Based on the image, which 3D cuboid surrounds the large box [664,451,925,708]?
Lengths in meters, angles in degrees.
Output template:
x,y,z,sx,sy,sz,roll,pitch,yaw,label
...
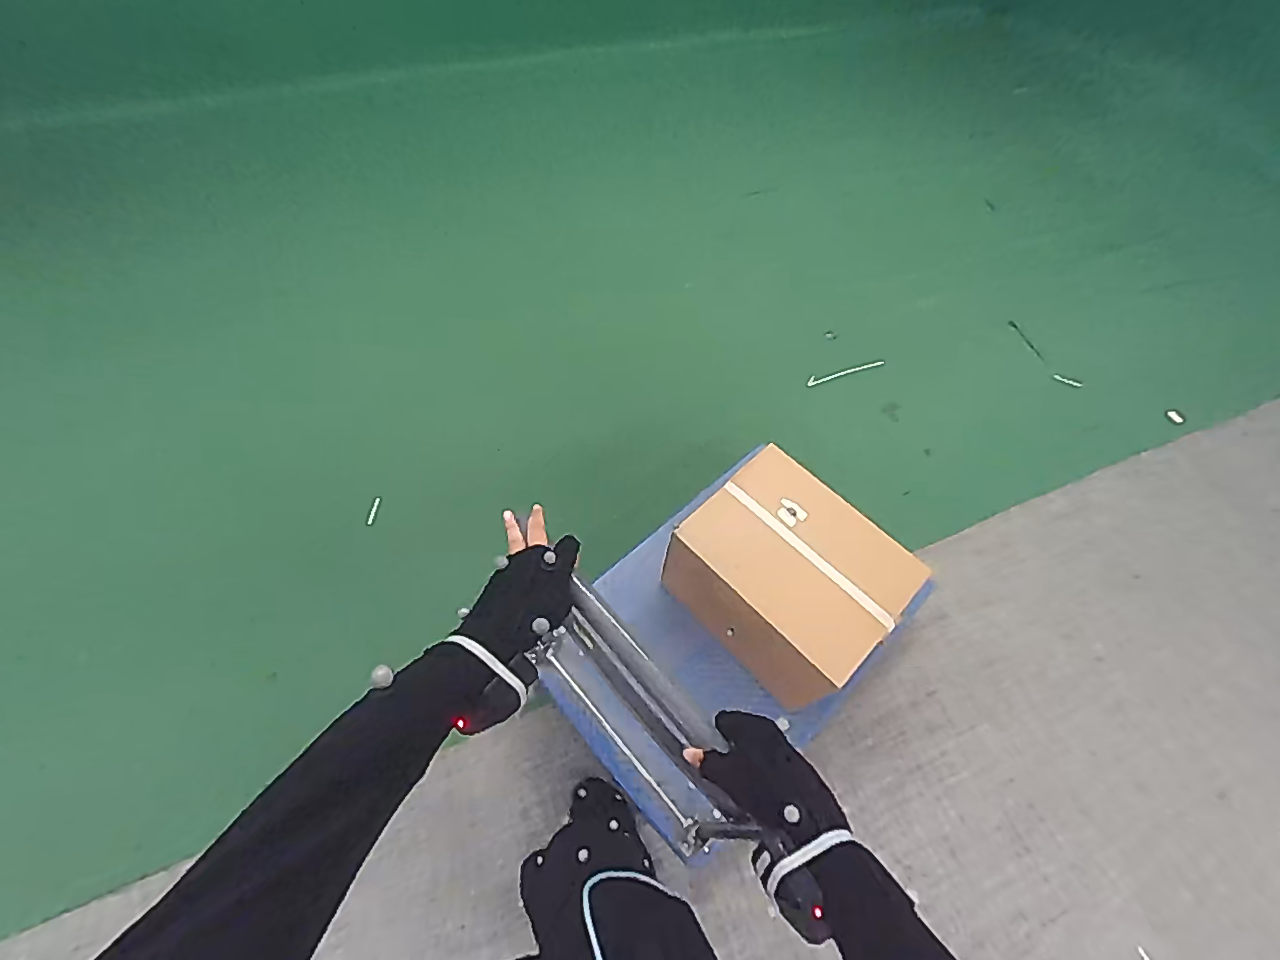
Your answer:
x,y,z,sx,sy,sz,roll,pitch,yaw,label
0.306,0.222,1.183,0.320,0.320,0.408,-39,68,-23,large box
